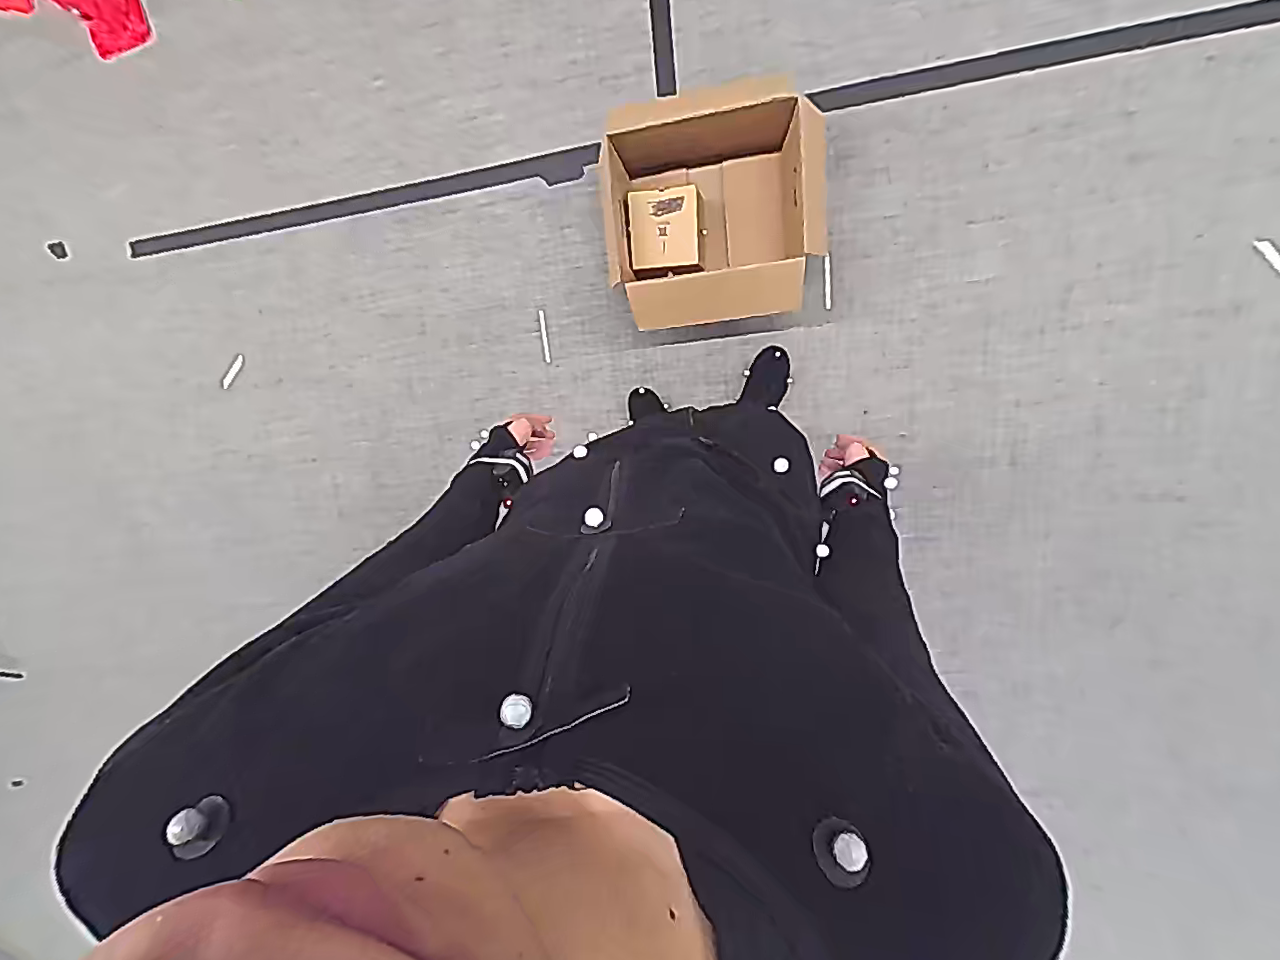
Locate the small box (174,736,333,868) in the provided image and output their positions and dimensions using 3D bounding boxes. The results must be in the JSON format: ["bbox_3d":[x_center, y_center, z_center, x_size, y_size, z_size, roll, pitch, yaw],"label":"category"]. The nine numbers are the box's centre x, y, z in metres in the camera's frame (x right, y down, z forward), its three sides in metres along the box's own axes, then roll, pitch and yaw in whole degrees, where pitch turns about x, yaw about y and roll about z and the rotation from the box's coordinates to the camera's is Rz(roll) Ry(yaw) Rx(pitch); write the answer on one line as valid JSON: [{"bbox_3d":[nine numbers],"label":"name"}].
[{"bbox_3d":[-0.780,0.653,1.110,0.179,0.176,0.168,-9,105,12],"label":"small box"}]
